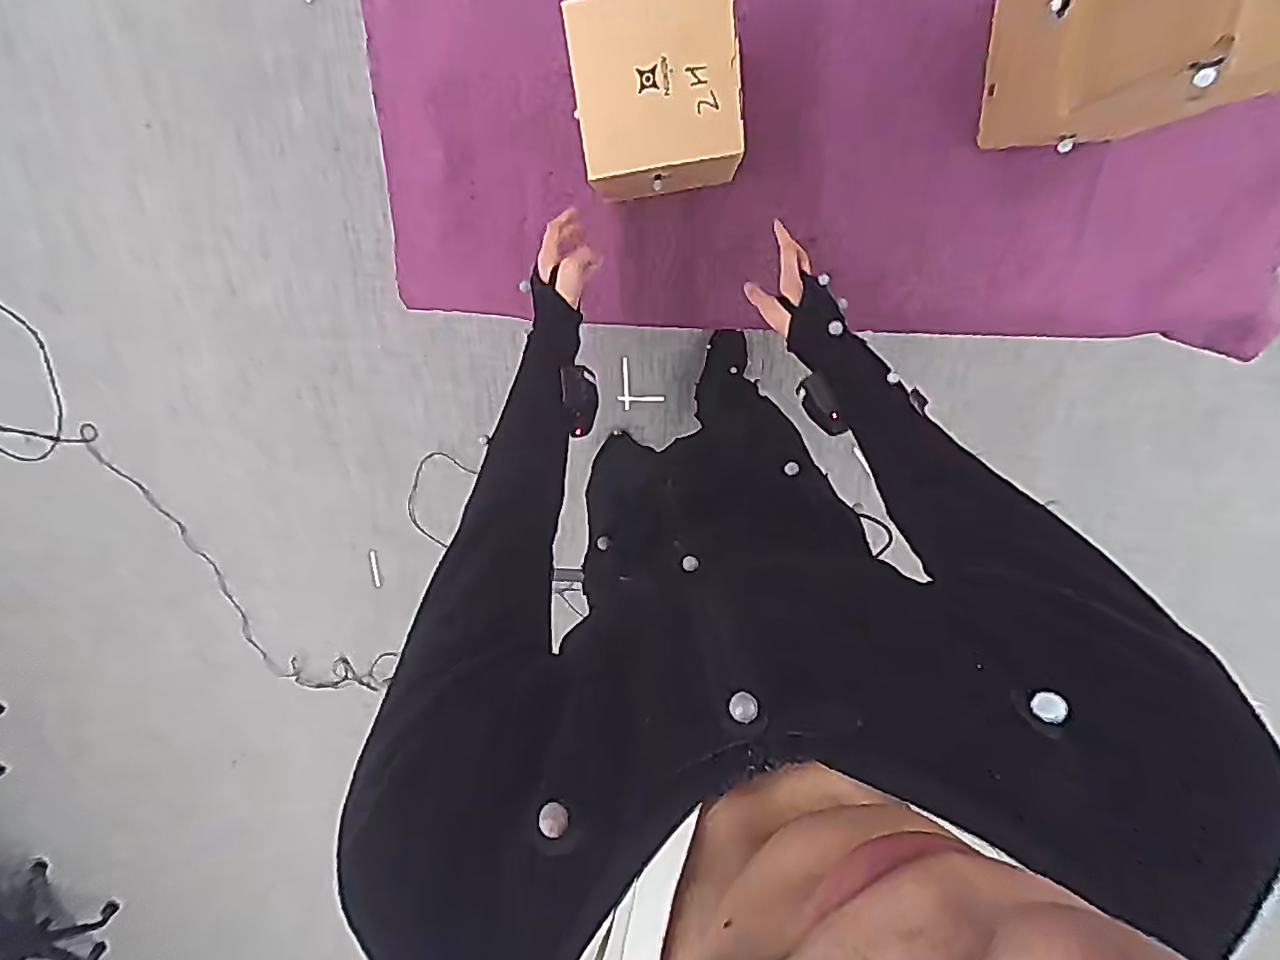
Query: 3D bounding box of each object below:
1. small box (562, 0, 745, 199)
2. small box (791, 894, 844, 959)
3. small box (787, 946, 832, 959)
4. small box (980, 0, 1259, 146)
[{"bbox_3d":[0.021,-0.441,0.631,0.179,0.176,0.168,-6,109,5],"label":"small box"},{"bbox_3d":[0.721,1.833,2.202,0.168,0.176,0.179,-10,109,6],"label":"small box"},{"bbox_3d":[0.660,1.944,2.073,0.168,0.176,0.179,4,110,1],"label":"small box"},{"bbox_3d":[0.514,-0.479,0.587,0.179,0.176,0.168,-2,109,4],"label":"small box"}]
